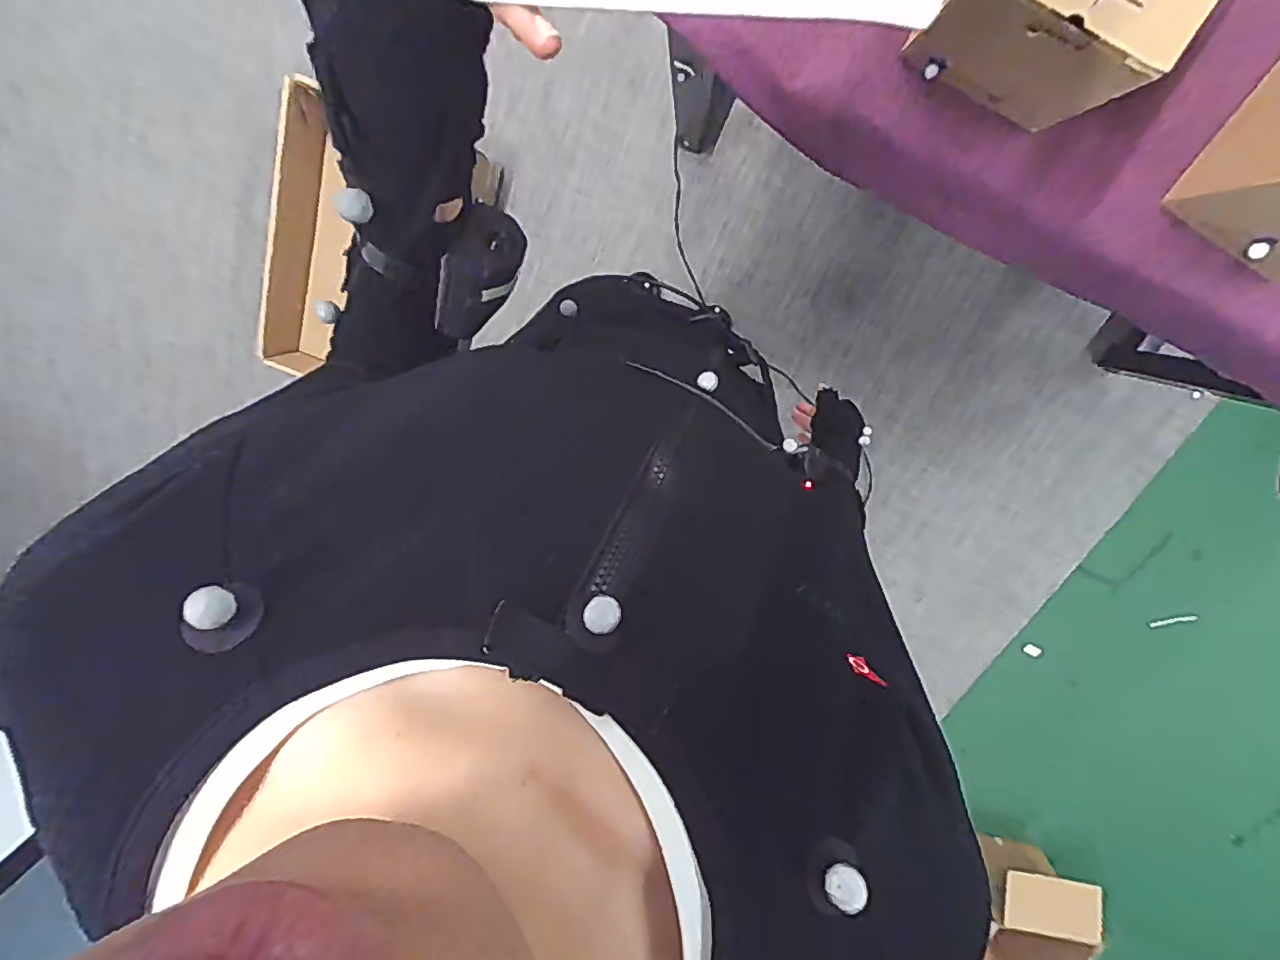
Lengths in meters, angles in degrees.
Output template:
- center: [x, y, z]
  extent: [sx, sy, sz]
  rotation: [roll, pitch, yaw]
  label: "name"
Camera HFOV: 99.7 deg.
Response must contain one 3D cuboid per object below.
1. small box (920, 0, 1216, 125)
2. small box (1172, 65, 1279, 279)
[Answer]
- center: [0.369, -0.439, 0.451]
  extent: [0.168, 0.176, 0.179]
  rotation: [27, 110, -5]
  label: "small box"
- center: [0.658, -0.297, 0.478]
  extent: [0.168, 0.176, 0.179]
  rotation: [29, 110, -6]
  label: "small box"
